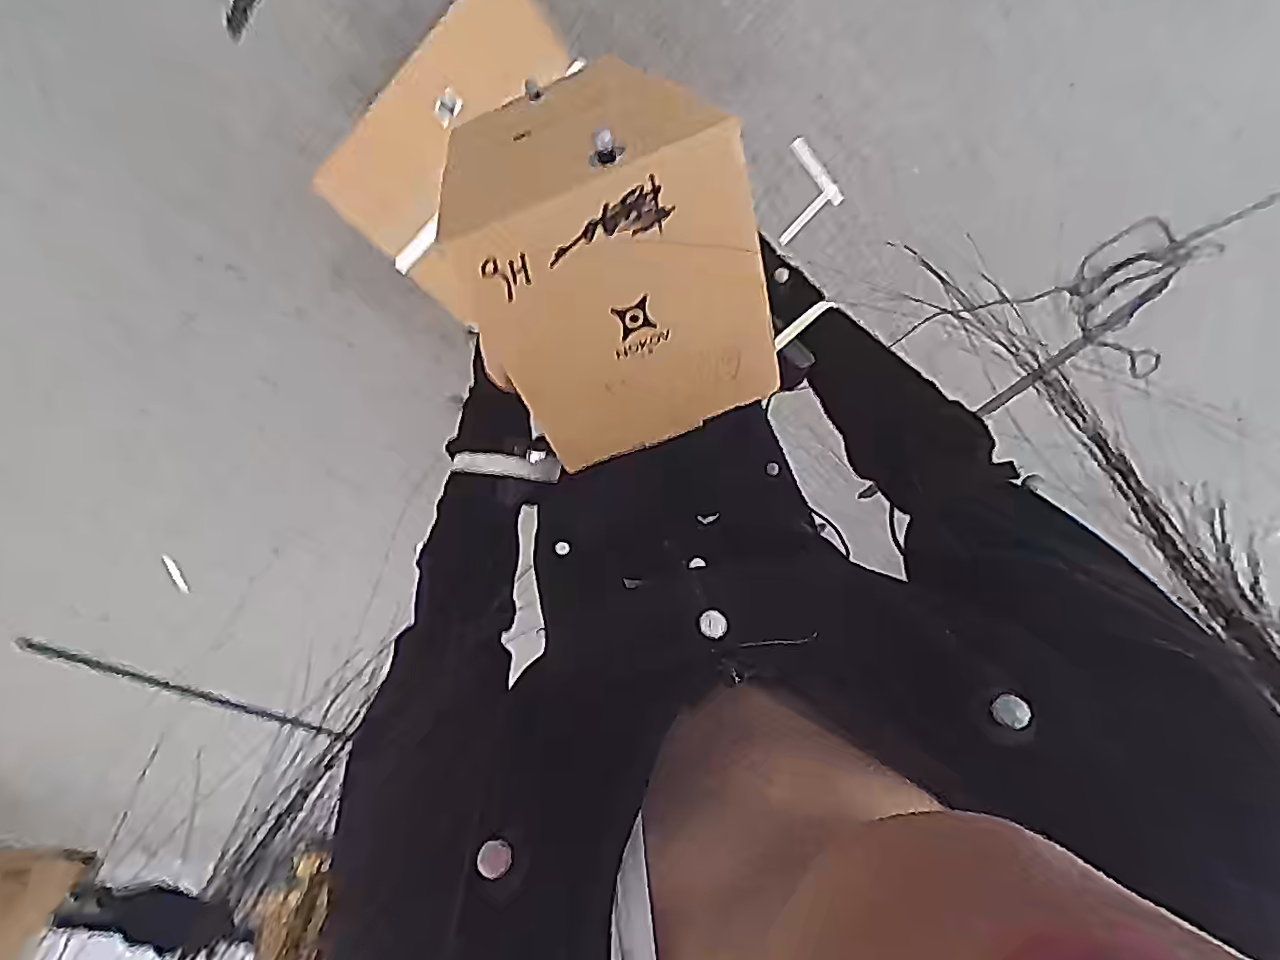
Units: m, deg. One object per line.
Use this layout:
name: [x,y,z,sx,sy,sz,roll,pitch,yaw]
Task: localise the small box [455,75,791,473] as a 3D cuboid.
small box: [-0.011,-0.142,0.378,0.168,0.176,0.179,-22,136,2]
